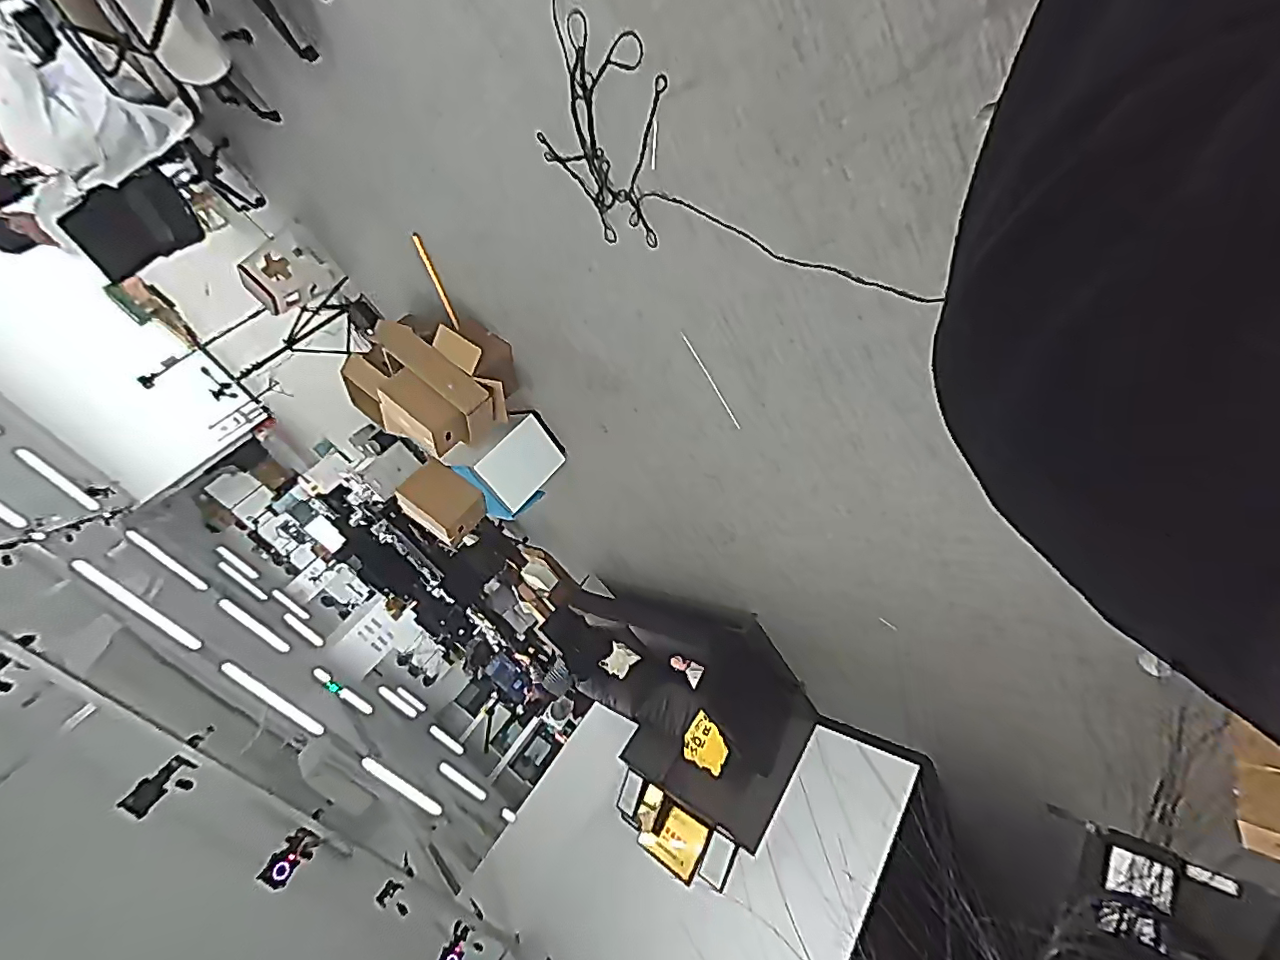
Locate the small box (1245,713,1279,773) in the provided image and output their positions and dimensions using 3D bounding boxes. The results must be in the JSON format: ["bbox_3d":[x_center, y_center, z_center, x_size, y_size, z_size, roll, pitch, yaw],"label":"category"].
[{"bbox_3d":[1.861,0.801,1.542,0.168,0.176,0.179,-2,131,54],"label":"small box"}]

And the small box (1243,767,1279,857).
[{"bbox_3d":[1.774,0.918,1.464,0.179,0.176,0.168,-1,133,53],"label":"small box"}]
